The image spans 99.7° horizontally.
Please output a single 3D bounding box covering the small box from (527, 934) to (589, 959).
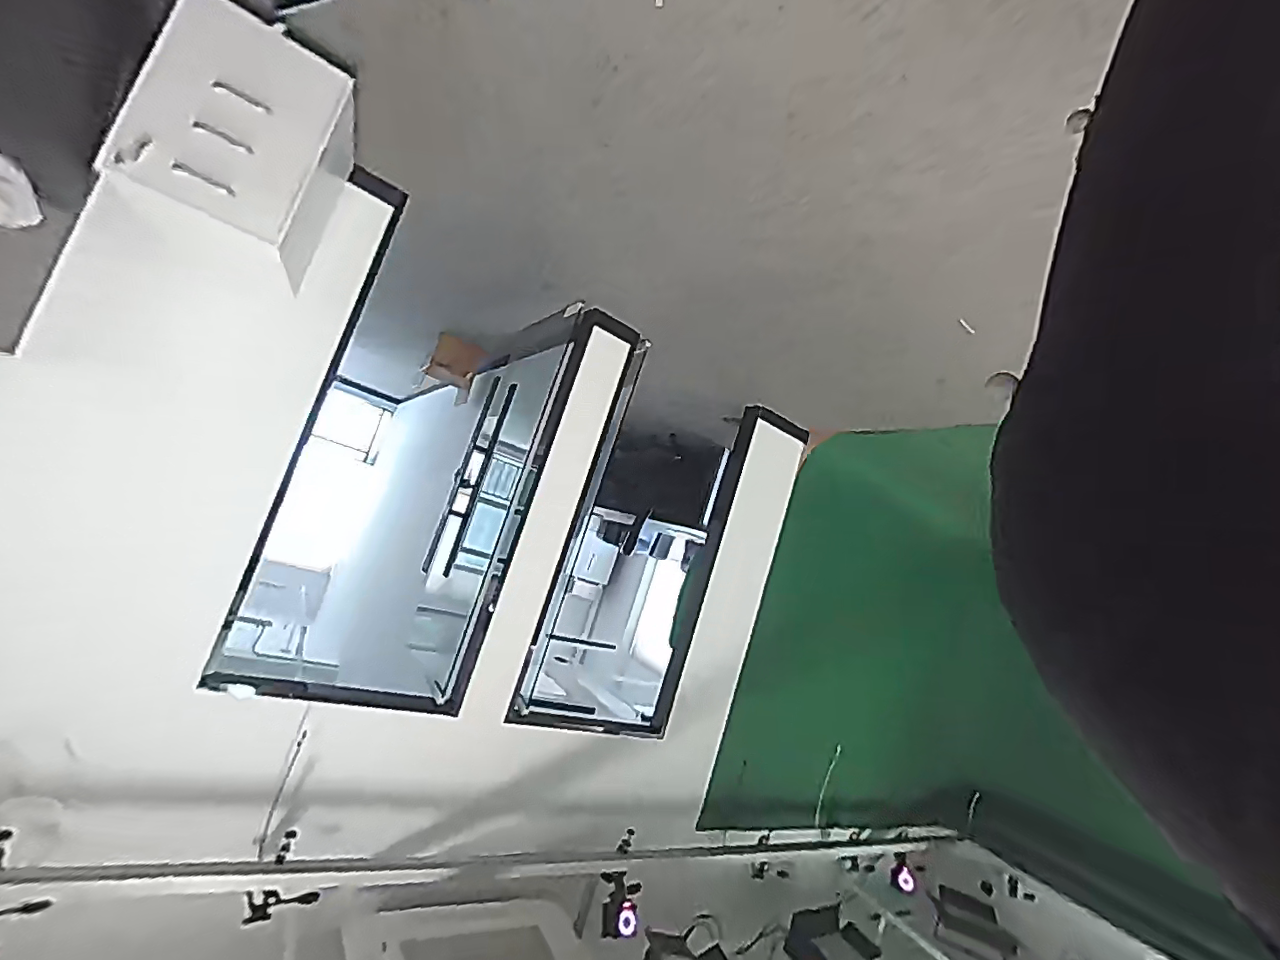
[{"bbox_3d":[-0.214,1.314,1.383,0.168,0.176,0.179,-17,162,-43],"label":"small box"}]
